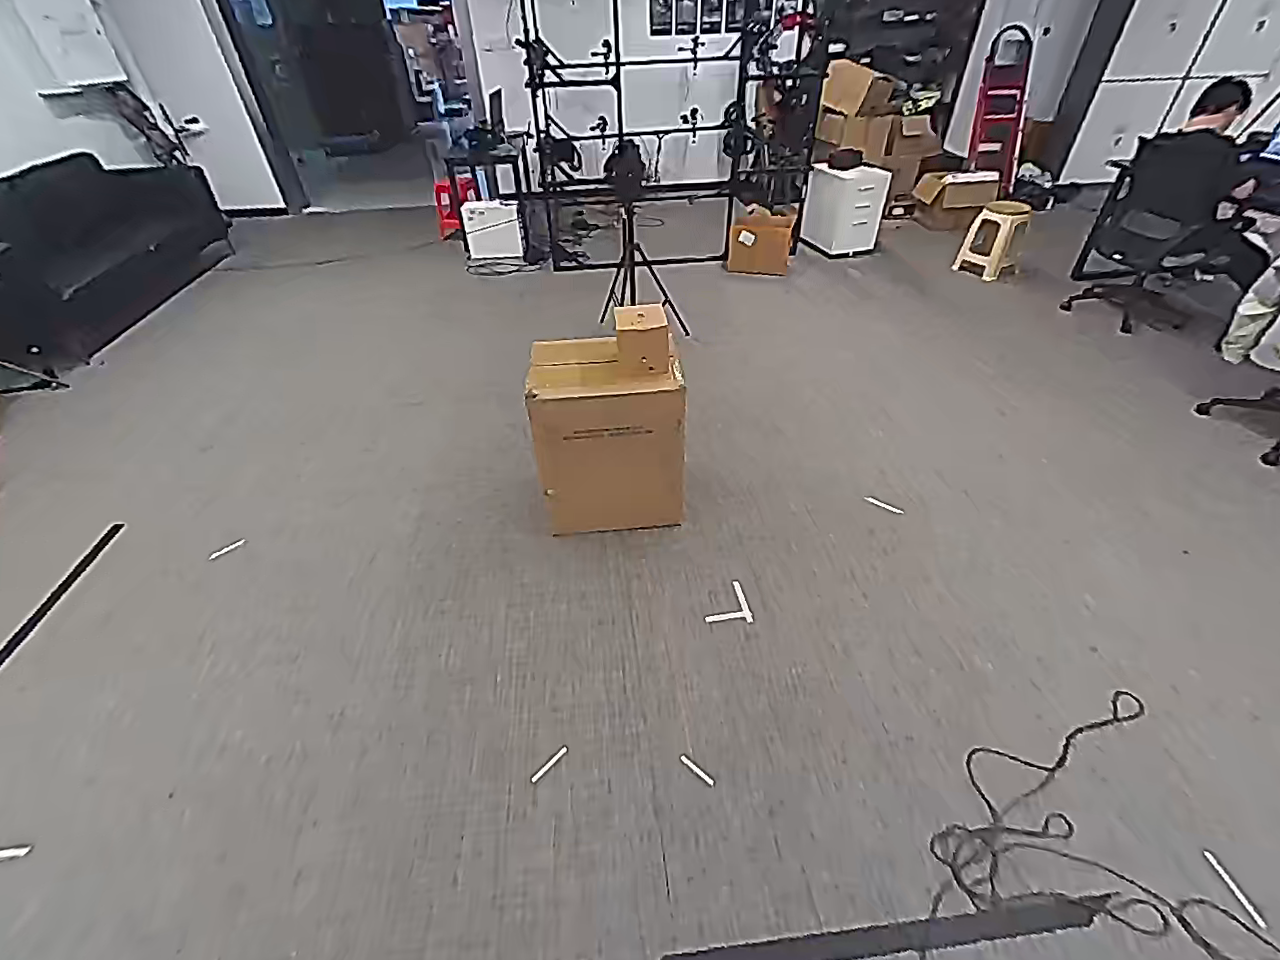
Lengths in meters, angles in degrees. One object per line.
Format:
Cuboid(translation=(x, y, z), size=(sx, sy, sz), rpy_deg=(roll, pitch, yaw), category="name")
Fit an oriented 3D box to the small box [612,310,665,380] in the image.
Cuboid(translation=(-0.006, -0.455, 1.827), size=(0.168, 0.176, 0.179), rpy_deg=(-6, 41, -3), category="small box")
